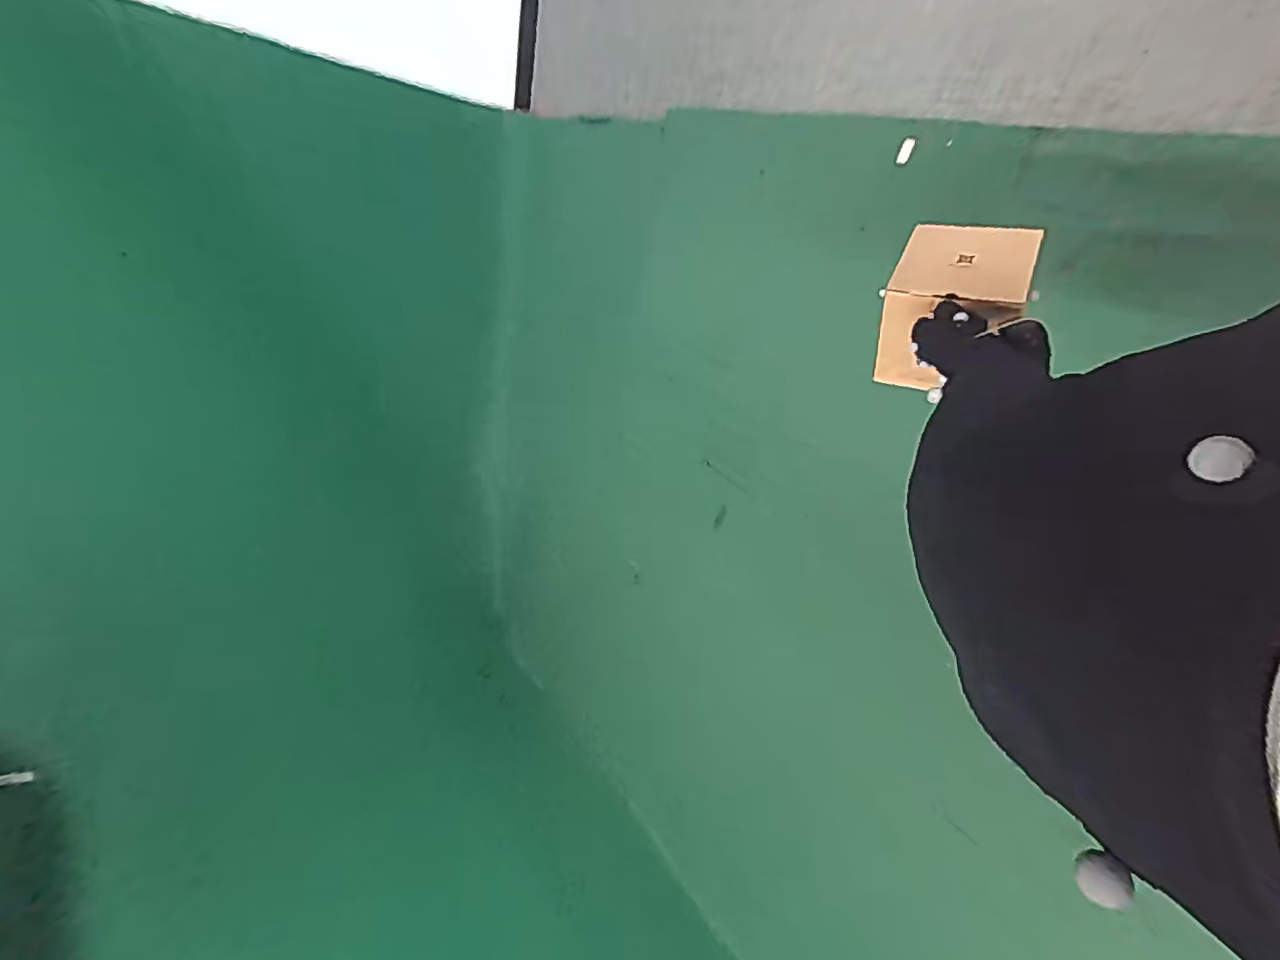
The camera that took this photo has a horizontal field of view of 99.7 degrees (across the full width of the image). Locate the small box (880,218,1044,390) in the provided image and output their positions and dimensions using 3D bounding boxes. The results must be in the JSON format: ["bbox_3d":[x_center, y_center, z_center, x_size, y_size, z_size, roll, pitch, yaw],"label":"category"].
[{"bbox_3d":[0.473,-0.266,0.815,0.168,0.179,0.176,17,151,28],"label":"small box"}]
